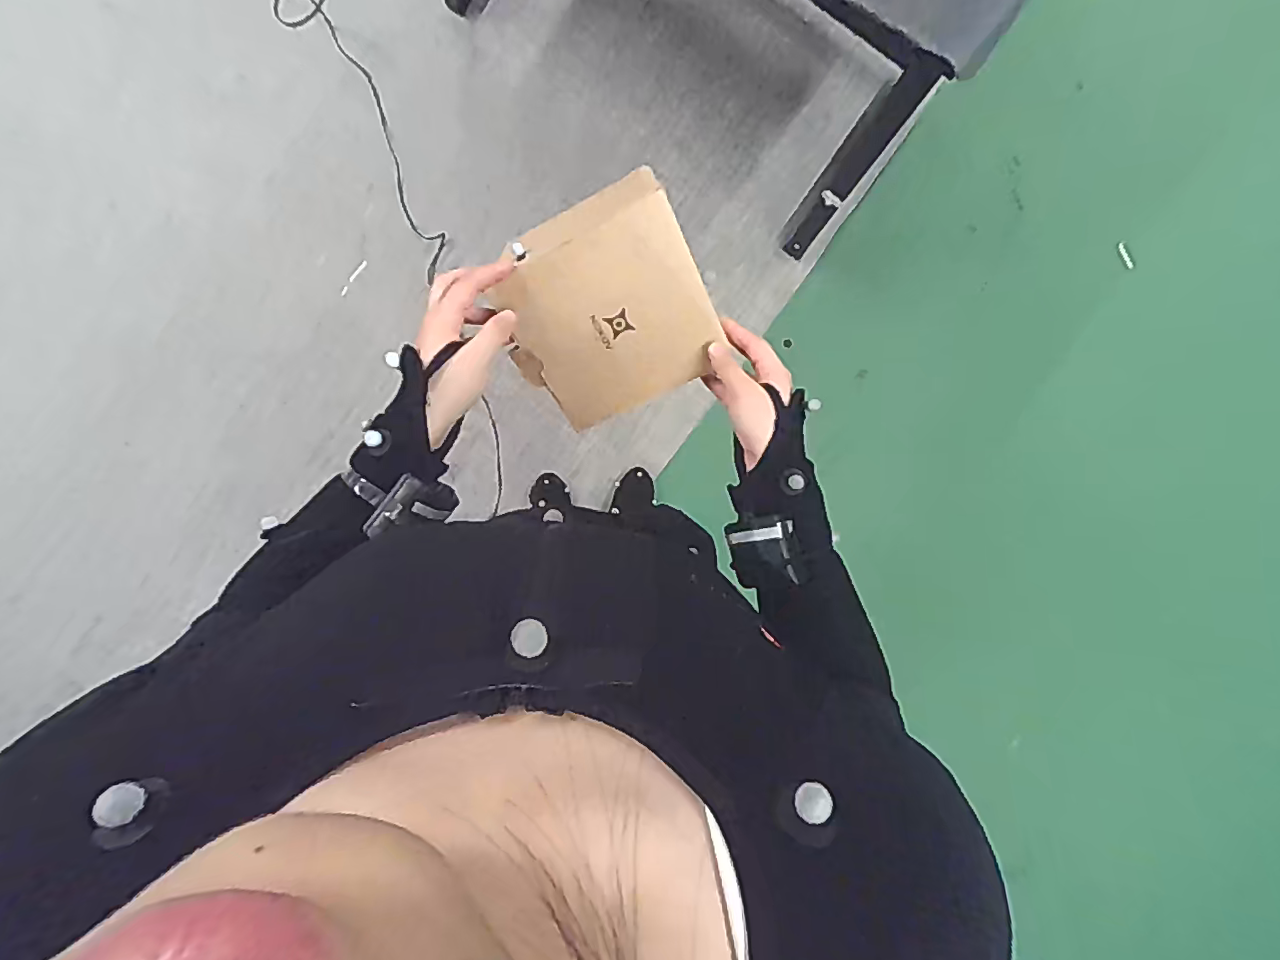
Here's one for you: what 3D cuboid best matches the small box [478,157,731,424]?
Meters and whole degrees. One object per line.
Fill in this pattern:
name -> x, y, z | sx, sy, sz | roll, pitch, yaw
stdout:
small box -> -0.030, -0.193, 0.541 | 0.179, 0.176, 0.168 | -23, 124, 15
